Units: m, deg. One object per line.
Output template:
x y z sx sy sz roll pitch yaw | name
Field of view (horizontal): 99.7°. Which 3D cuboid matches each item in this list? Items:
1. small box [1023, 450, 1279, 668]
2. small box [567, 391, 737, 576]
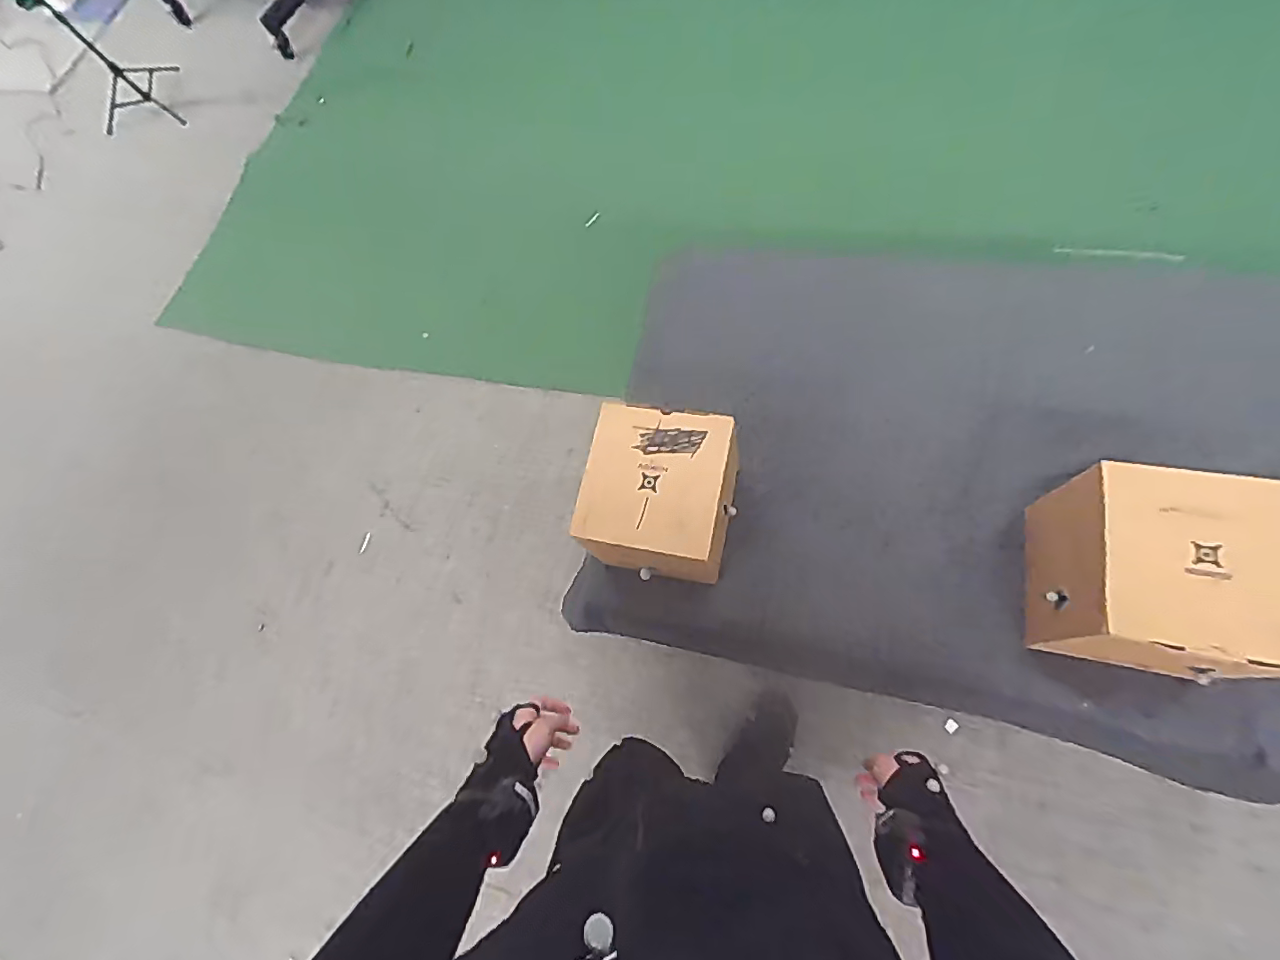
0.528 0.090 0.561 0.168 0.176 0.179 9 71 13 | small box
0.028 0.011 0.689 0.168 0.176 0.179 9 73 14 | small box
